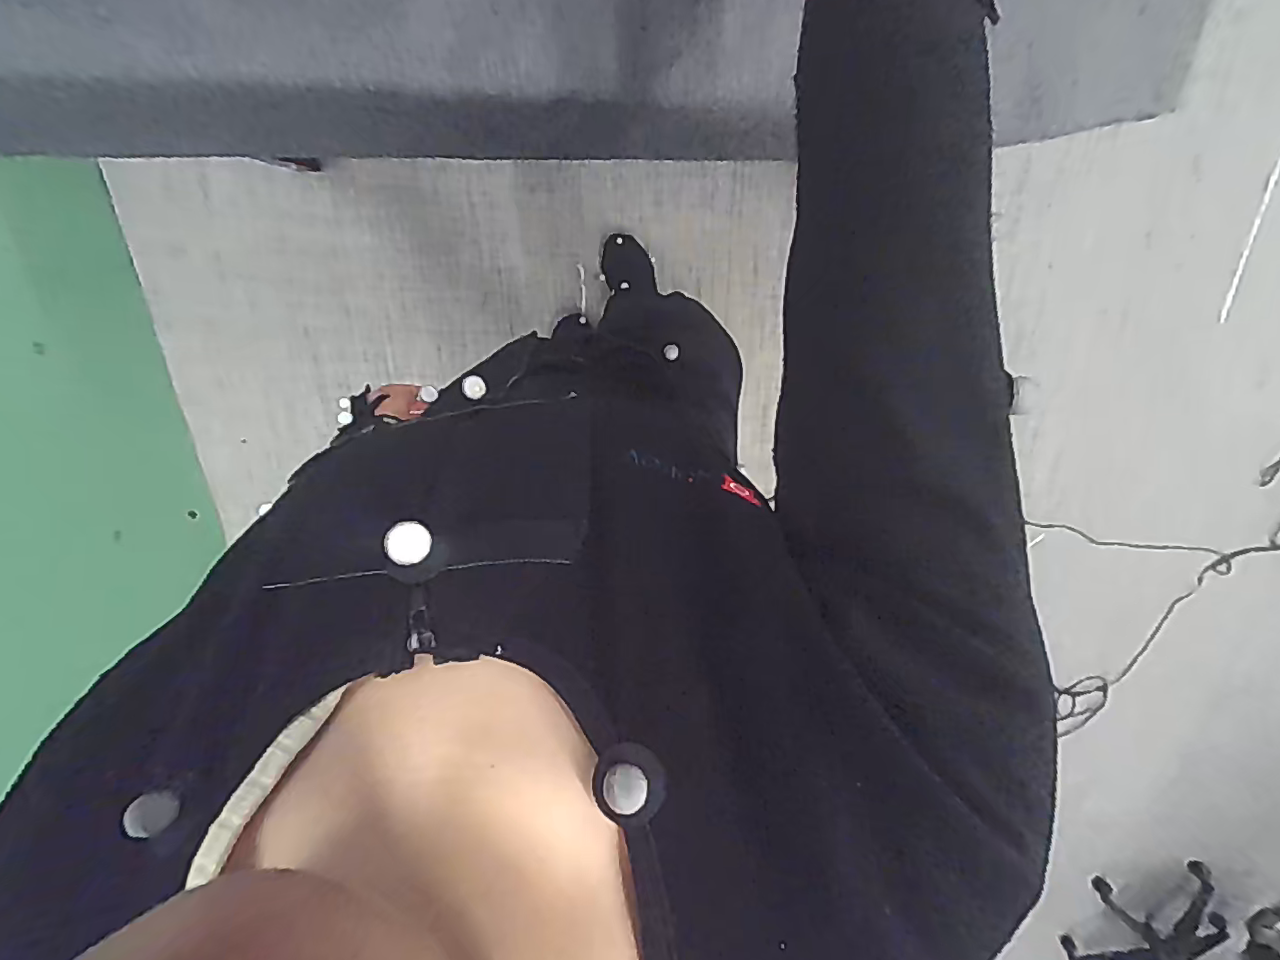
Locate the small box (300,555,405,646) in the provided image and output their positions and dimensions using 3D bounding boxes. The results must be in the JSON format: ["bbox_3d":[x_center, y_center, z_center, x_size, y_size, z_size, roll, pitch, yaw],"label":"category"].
[{"bbox_3d":[-0.747,0.313,1.434,0.179,0.176,0.168,-7,111,2],"label":"small box"}]
